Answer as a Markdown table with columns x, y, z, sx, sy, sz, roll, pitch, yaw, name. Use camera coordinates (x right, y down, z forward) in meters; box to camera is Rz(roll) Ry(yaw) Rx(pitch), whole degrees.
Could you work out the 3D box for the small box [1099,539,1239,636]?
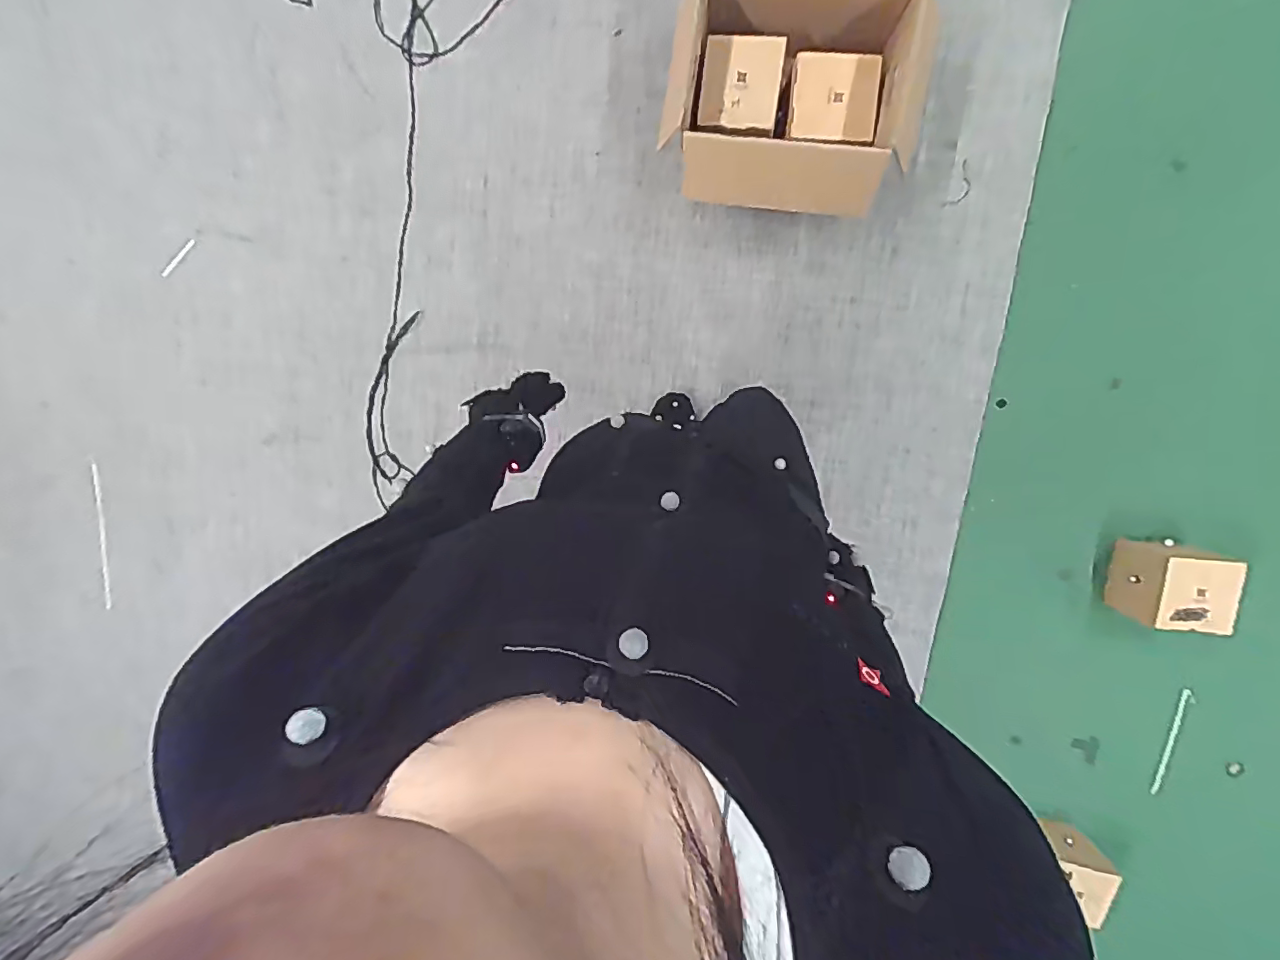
| x | y | z | sx | sy | sz | roll | pitch | yaw | name |
| --- | --- | --- | --- | --- | --- | --- | --- | --- | --- |
| 1.273 | 0.256 | 1.318 | 0.168 | 0.176 | 0.179 | 4 | 99 | 5 | small box |
